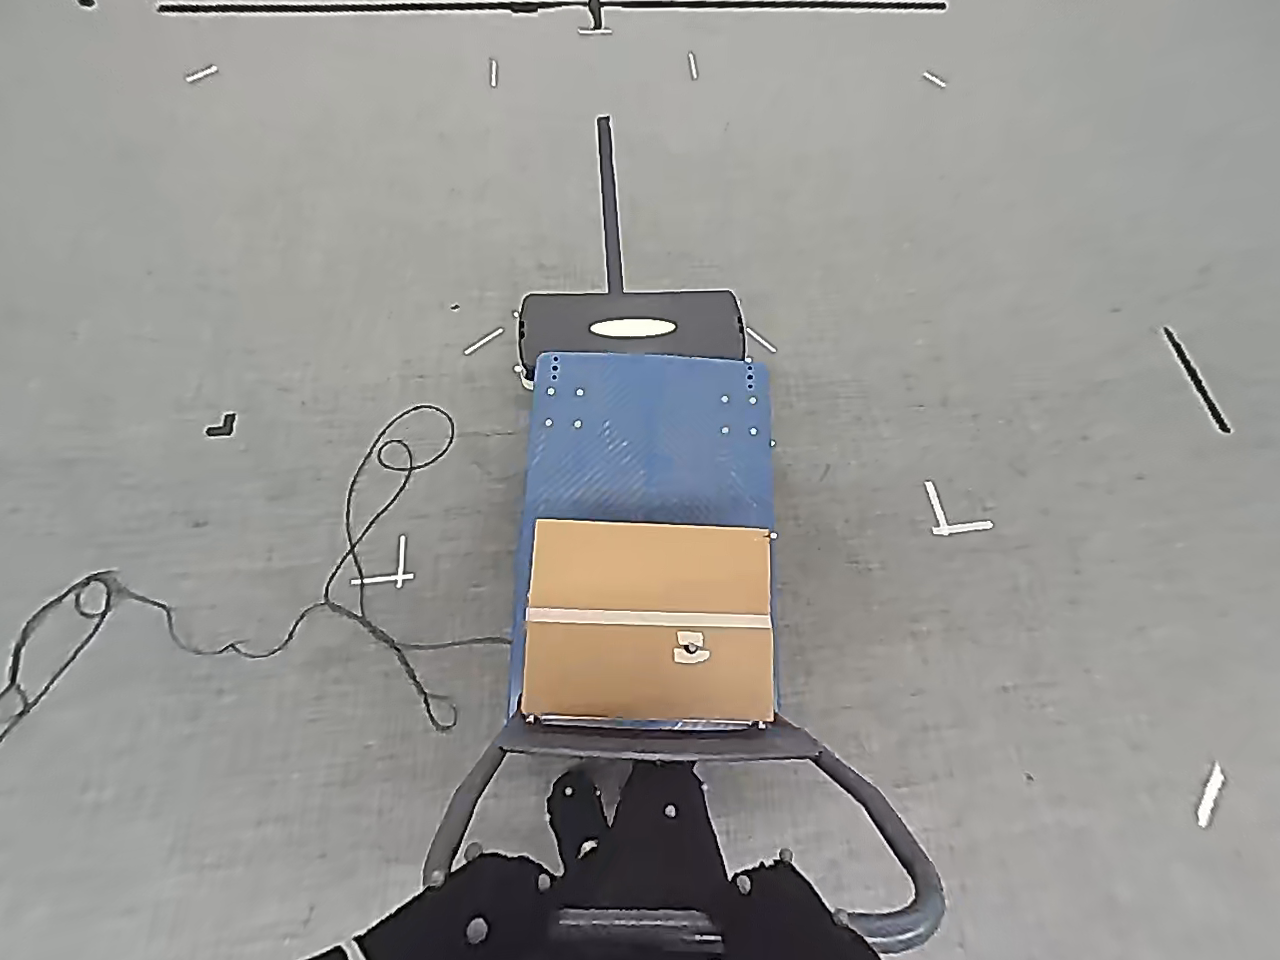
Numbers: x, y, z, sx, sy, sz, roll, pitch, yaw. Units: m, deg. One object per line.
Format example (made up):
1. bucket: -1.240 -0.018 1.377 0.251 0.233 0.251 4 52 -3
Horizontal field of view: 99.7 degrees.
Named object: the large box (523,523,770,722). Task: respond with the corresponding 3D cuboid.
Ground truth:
1. large box: 0.005 0.265 1.034 0.408 0.320 0.320 3 78 -3
